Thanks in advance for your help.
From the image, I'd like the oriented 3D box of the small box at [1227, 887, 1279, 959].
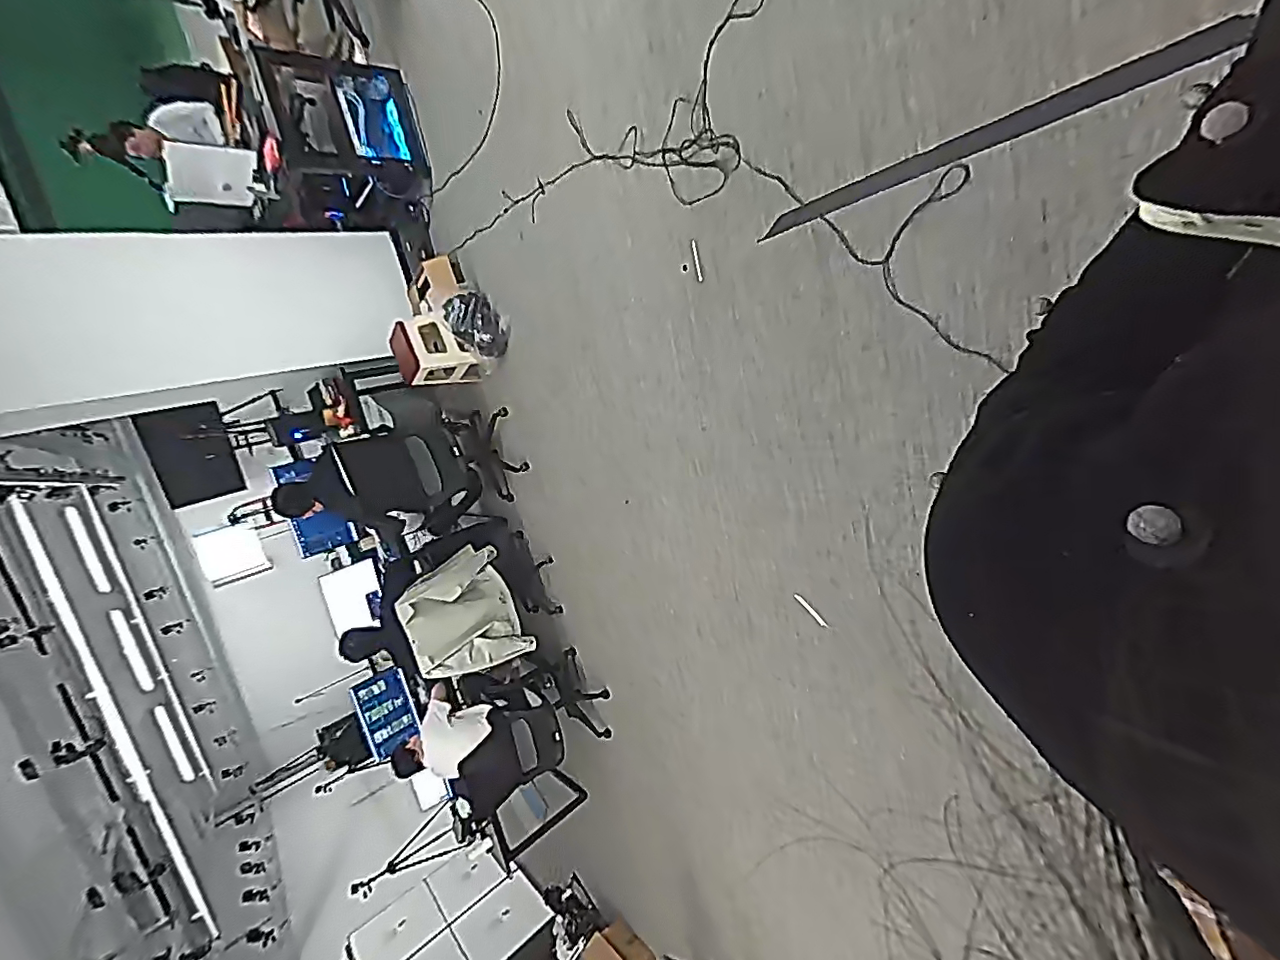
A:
[{"bbox_3d":[1.125,0.846,0.909,0.179,0.176,0.168,0,106,52],"label":"small box"}]
